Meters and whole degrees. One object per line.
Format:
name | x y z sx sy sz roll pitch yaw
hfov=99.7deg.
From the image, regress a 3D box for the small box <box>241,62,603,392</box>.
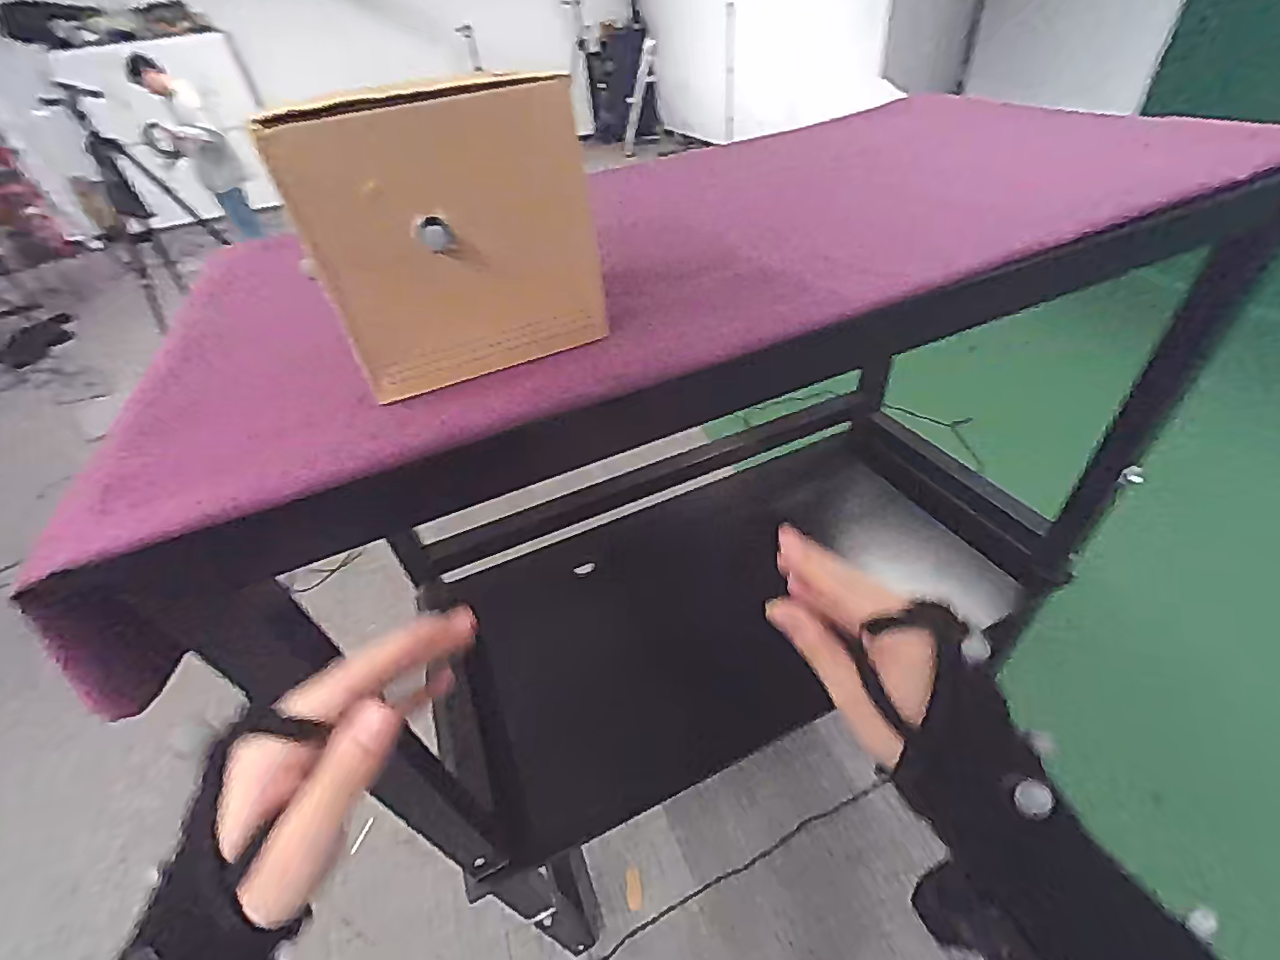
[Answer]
small box | -0.145 -0.188 0.400 0.179 0.176 0.168 -22 42 -15
